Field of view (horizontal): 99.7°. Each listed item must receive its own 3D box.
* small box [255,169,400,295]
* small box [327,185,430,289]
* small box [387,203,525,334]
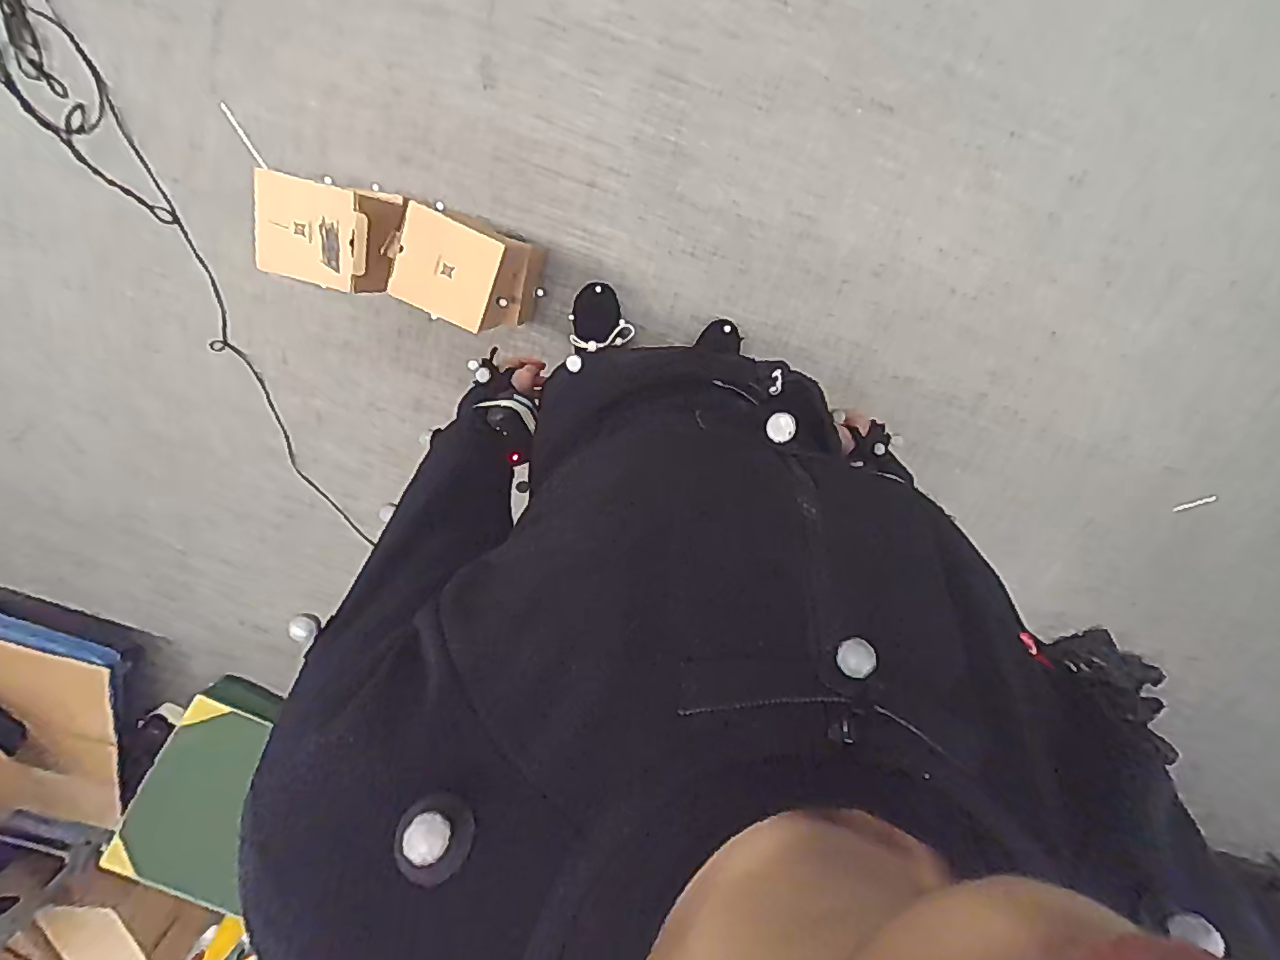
[{"bbox_3d":[-0.567,-0.449,0.998,0.179,0.176,0.168,14,110,-1],"label":"small box"},{"bbox_3d":[-0.547,-0.509,1.152,0.168,0.176,0.179,9,110,0],"label":"small box"},{"bbox_3d":[-0.334,-0.394,1.012,0.179,0.176,0.168,23,111,-5],"label":"small box"}]
